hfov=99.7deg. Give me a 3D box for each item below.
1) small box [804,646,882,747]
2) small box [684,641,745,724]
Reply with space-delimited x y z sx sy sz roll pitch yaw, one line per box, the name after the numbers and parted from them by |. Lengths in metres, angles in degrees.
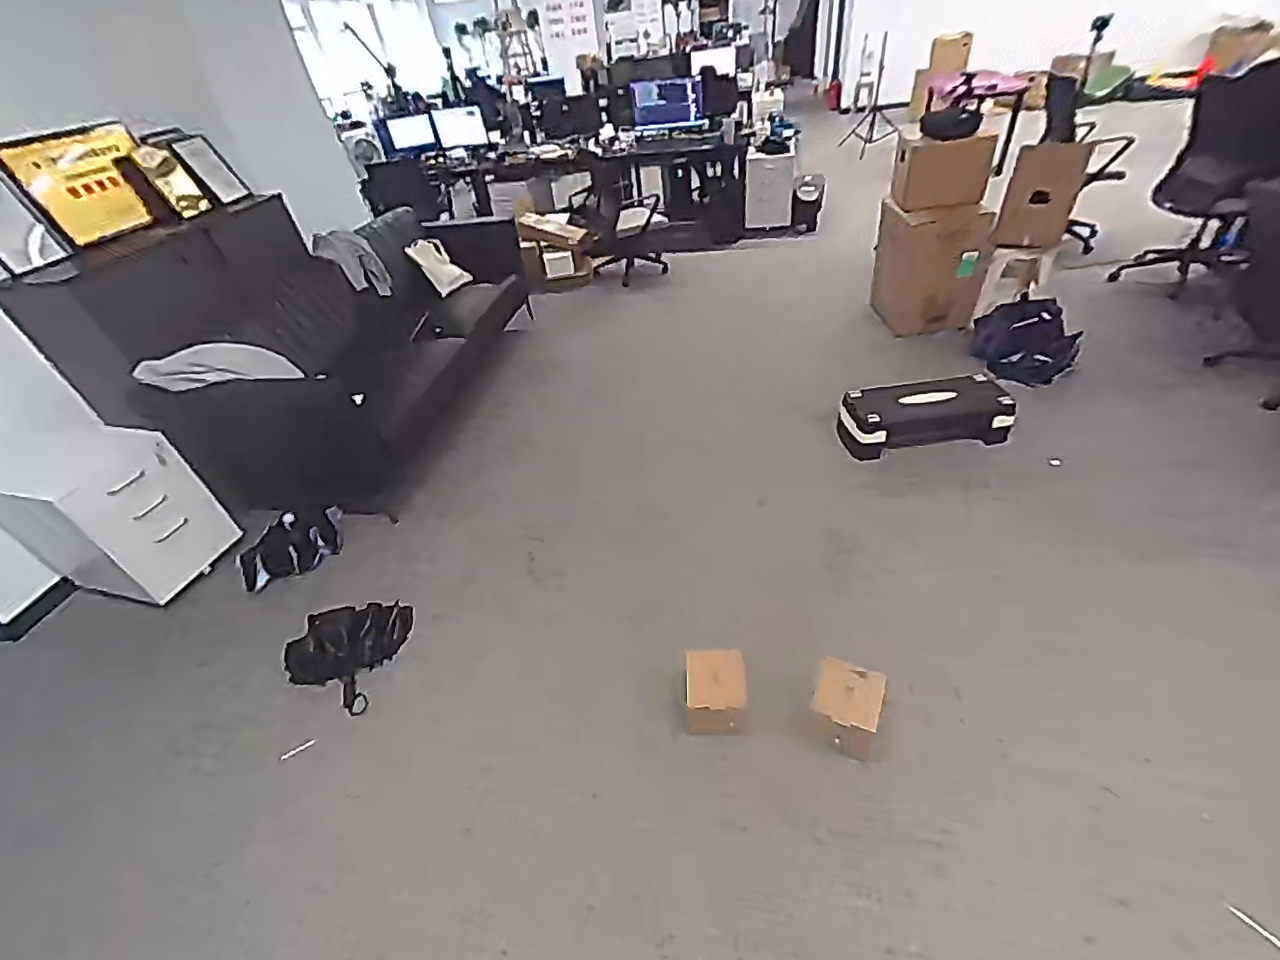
0.556 0.597 1.488 0.168 0.176 0.179 13 46 25 | small box
0.215 0.590 1.565 0.168 0.176 0.179 -3 40 5 | small box
